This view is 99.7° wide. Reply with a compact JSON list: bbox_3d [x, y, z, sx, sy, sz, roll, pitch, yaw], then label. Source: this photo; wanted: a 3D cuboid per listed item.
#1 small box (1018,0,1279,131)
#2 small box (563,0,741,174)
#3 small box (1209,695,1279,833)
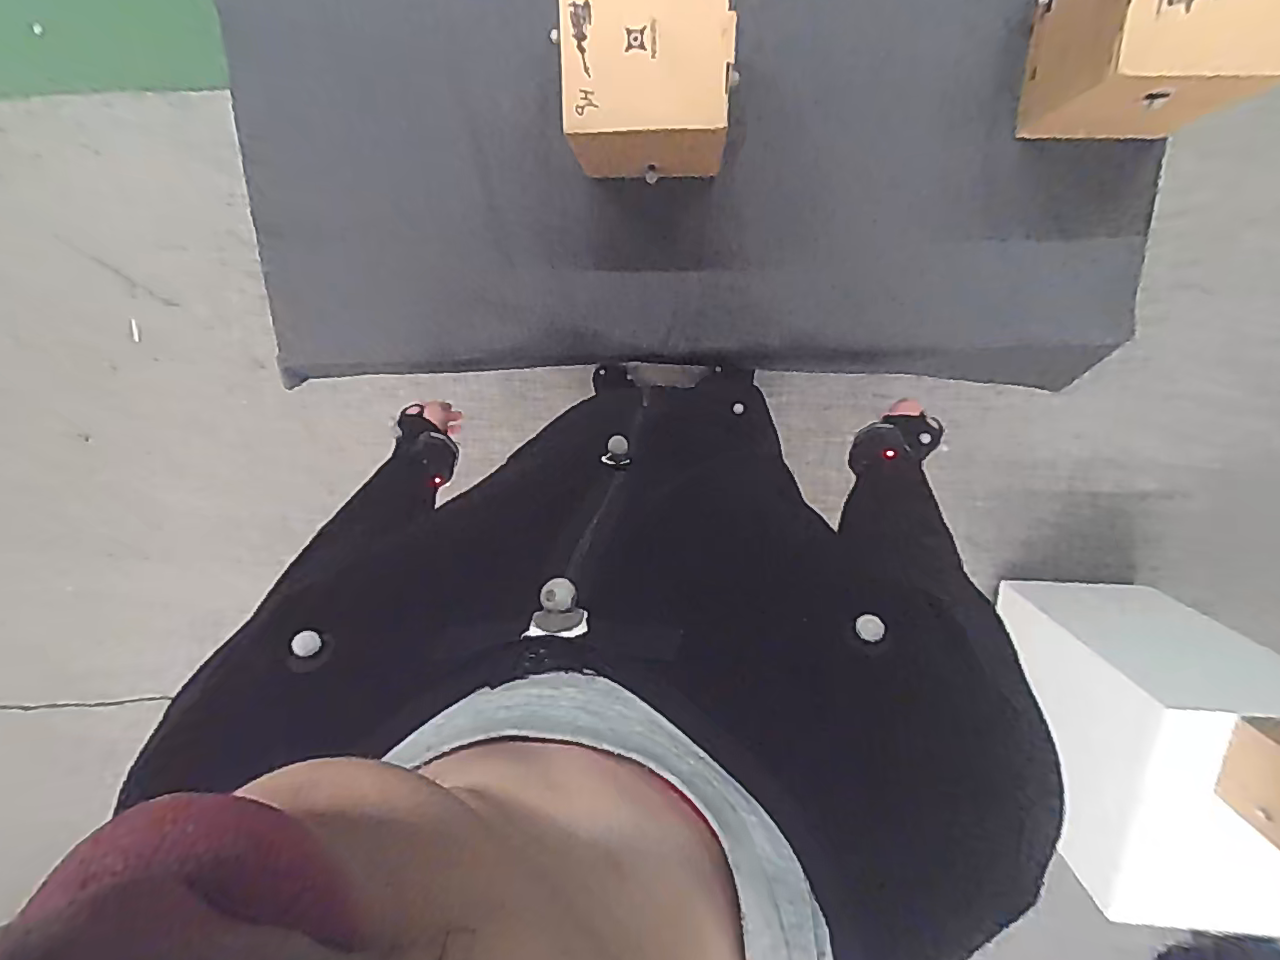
[{"bbox_3d":[0.550,-0.494,0.577,0.179,0.176,0.168,1,105,1],"label":"small box"},{"bbox_3d":[0.013,-0.461,0.609,0.179,0.176,0.168,0,104,2],"label":"small box"},{"bbox_3d":[1.166,0.503,0.942,0.168,0.176,0.179,-2,104,1],"label":"small box"}]
